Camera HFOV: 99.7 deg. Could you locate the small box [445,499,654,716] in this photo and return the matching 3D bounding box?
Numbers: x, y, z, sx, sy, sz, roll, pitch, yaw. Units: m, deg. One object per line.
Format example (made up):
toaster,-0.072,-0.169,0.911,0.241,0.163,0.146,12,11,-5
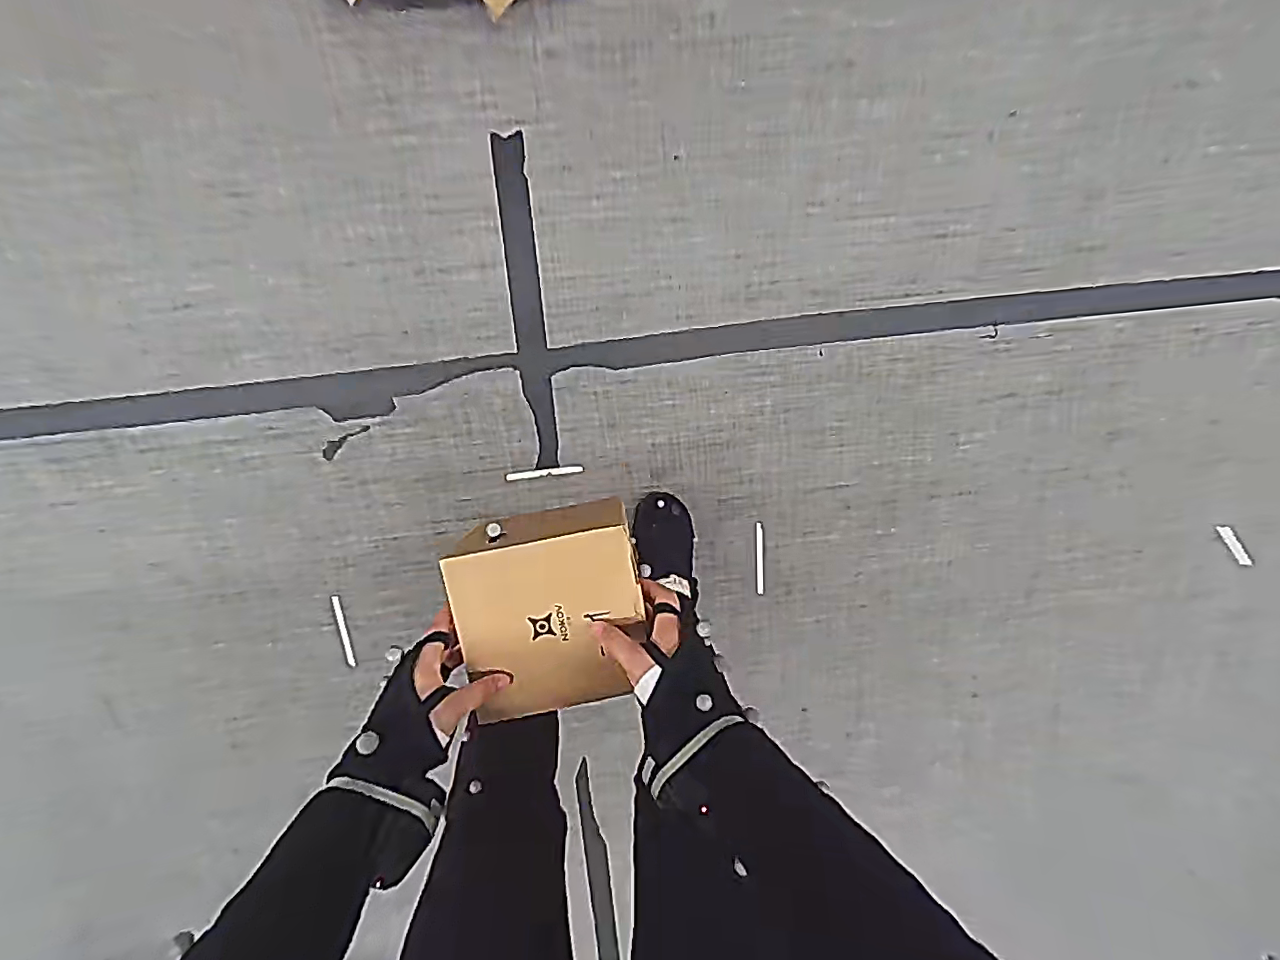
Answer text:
small box,-0.088,0.124,0.590,0.179,0.176,0.168,-10,98,-3
